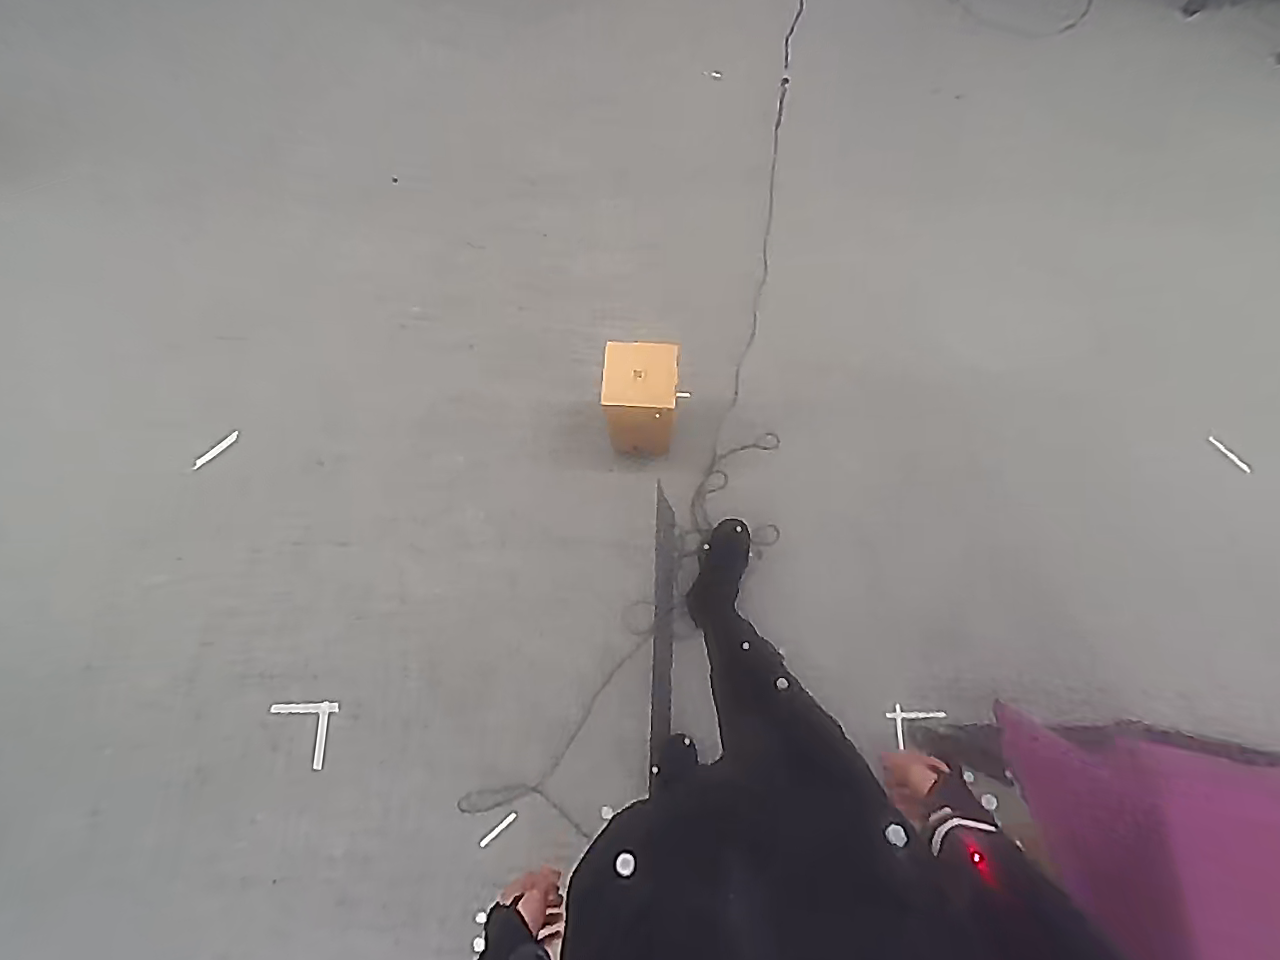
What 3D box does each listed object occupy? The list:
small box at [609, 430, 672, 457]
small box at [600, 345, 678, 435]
[{"bbox_3d":[0.005,-0.175,1.499,0.168,0.176,0.179,1,75,2],"label":"small box"},{"bbox_3d":[0.002,-0.217,1.342,0.179,0.176,0.168,3,75,2],"label":"small box"}]
